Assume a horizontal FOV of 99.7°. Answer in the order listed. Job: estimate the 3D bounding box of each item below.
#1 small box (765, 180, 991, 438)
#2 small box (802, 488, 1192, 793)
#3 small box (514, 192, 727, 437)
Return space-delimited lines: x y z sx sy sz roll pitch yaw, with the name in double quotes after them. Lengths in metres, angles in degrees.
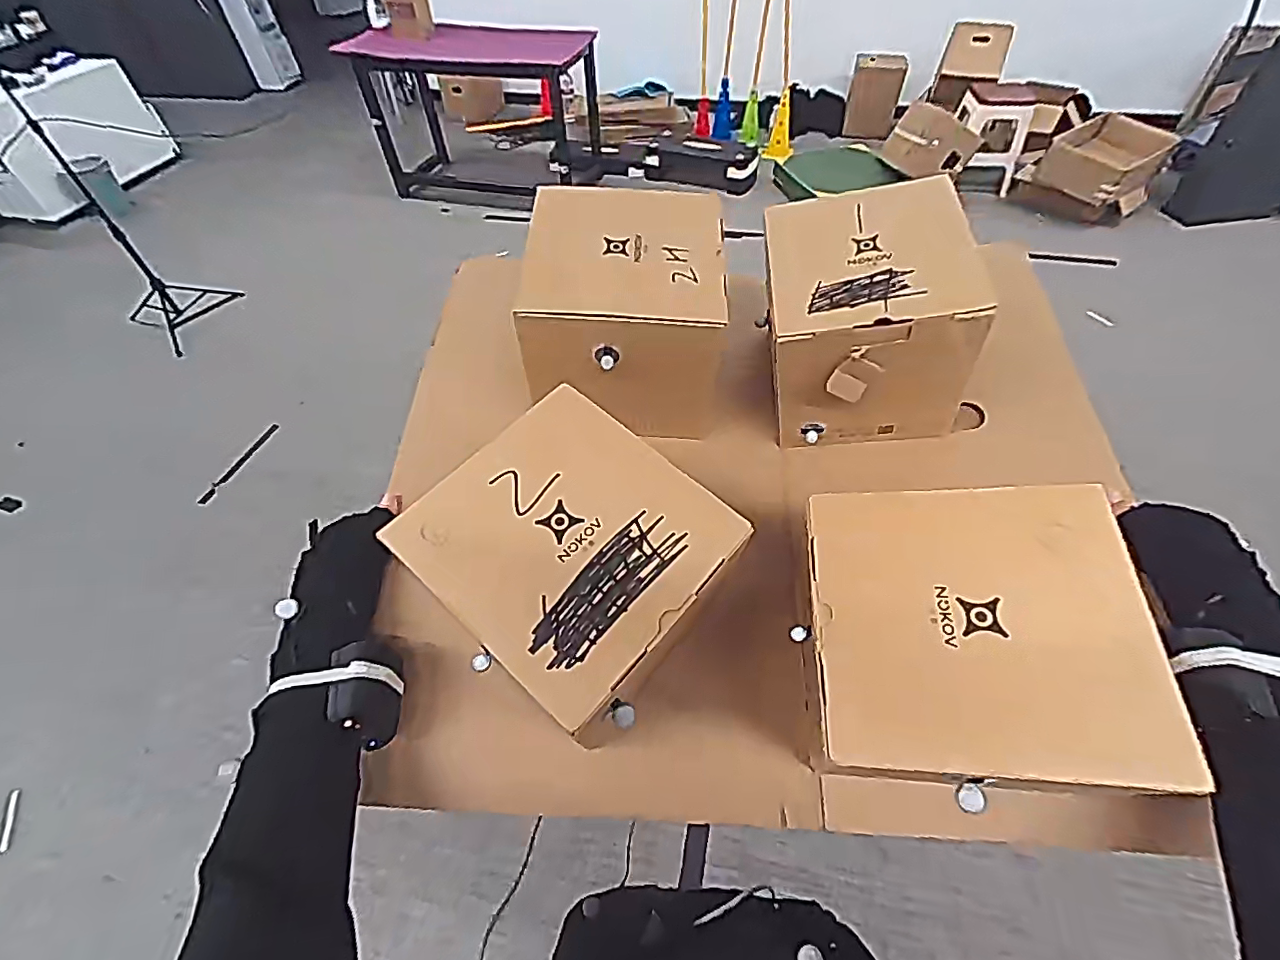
0.215 -0.153 0.535 0.168 0.176 0.179 -4 59 14 "small box"
0.210 0.117 0.384 0.179 0.176 0.168 -3 61 16 "small box"
-0.014 -0.157 0.543 0.179 0.176 0.168 4 61 -1 "small box"
